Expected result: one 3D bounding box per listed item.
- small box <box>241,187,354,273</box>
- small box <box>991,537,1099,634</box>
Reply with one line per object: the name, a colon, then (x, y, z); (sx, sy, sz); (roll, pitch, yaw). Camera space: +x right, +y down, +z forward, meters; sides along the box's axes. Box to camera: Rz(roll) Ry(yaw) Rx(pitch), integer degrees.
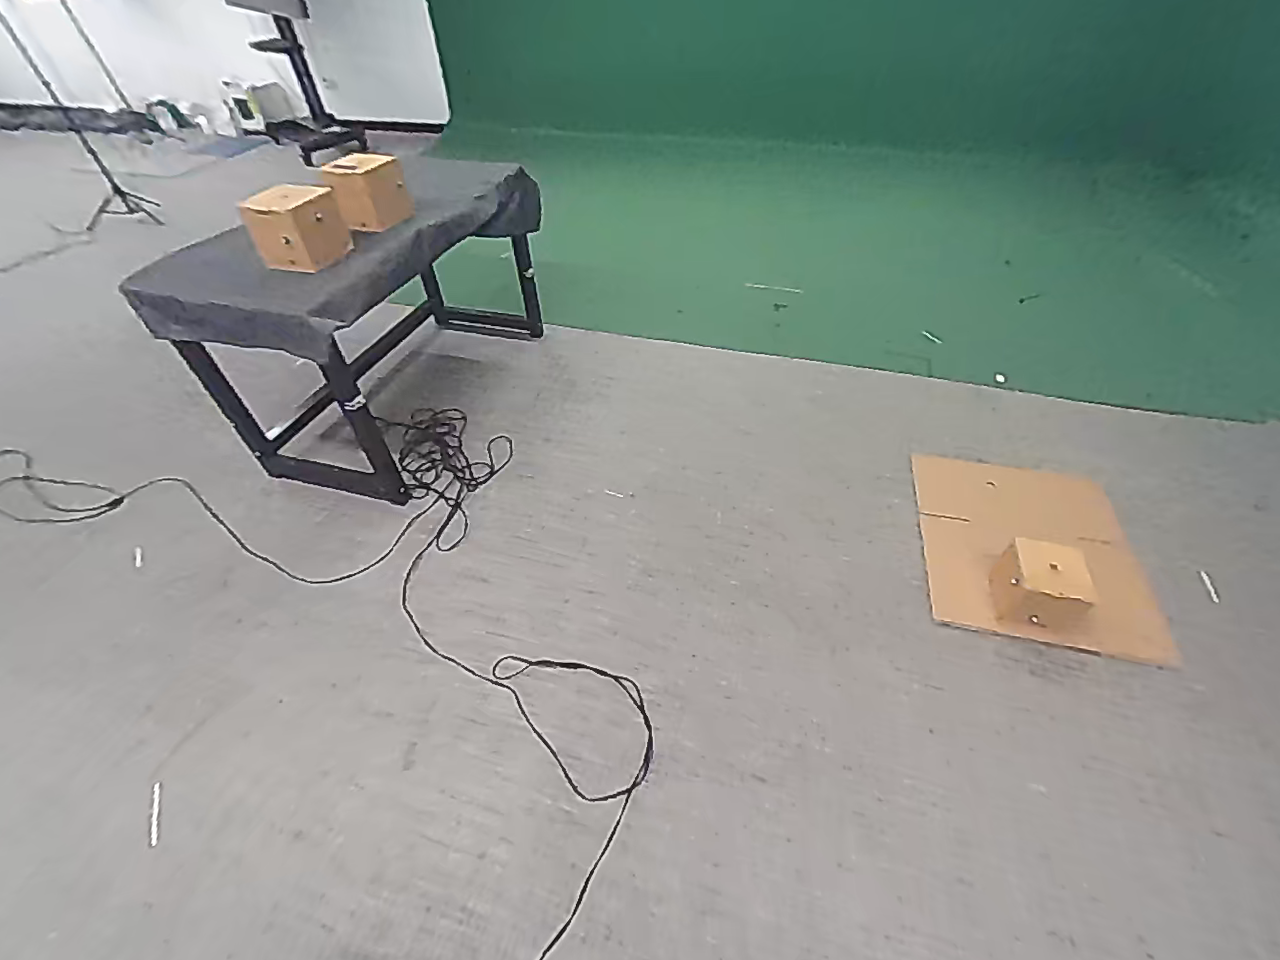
small box: (-0.932, -0.691, 1.495); (0.168, 0.176, 0.179); (11, 46, 11)
small box: (1.077, 0.285, 1.458); (0.168, 0.176, 0.179); (11, 48, 12)
